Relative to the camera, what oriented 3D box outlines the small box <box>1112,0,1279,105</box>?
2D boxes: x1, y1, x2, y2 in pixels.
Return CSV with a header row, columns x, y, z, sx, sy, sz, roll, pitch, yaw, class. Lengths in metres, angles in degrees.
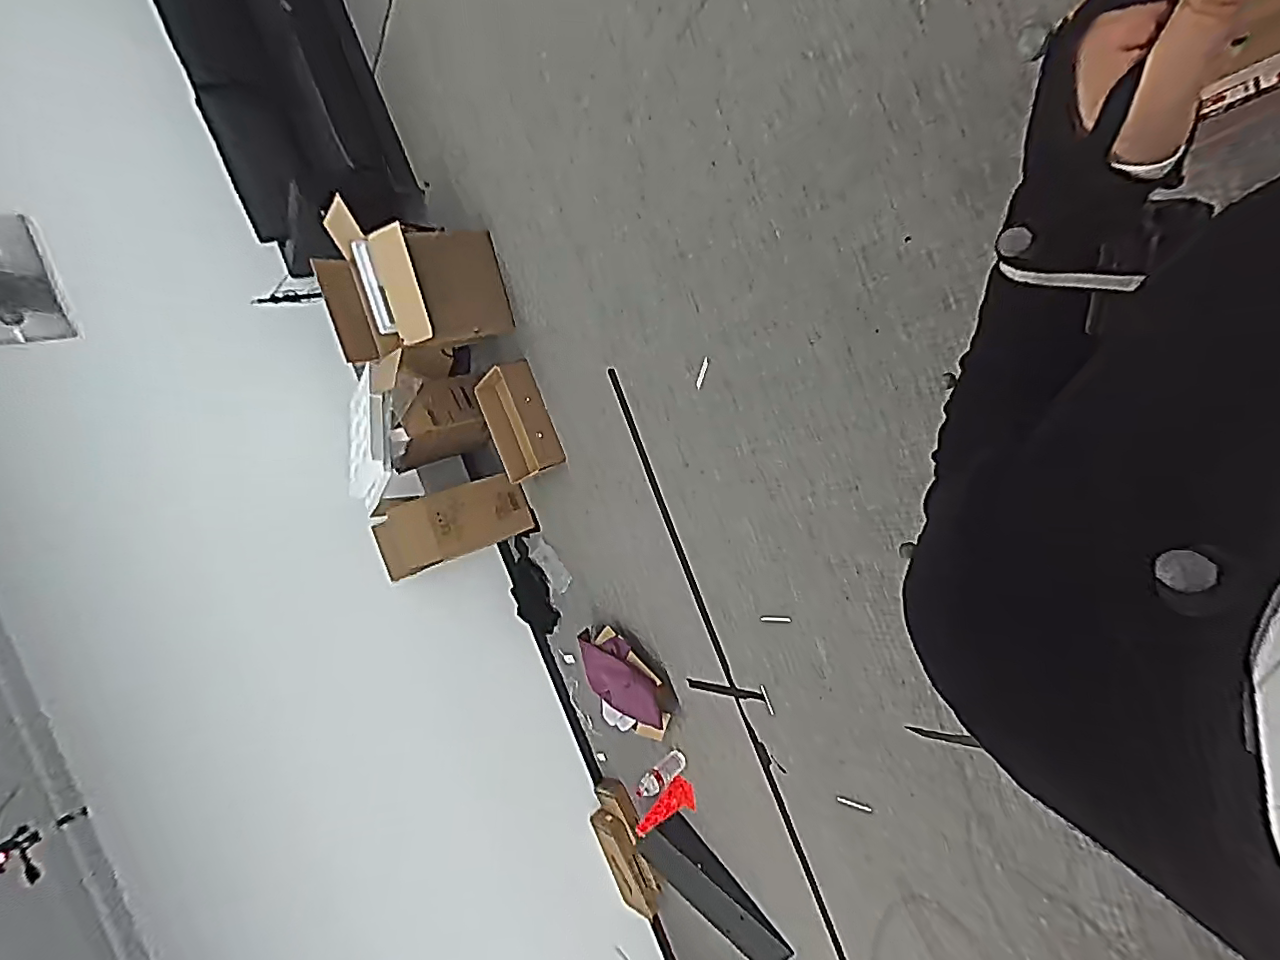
x,y,z,sx,sy,sz,roll,pitch,yaw,class
0.626,-0.526,0.562,0.179,0.176,0.168,-5,107,54,small box
